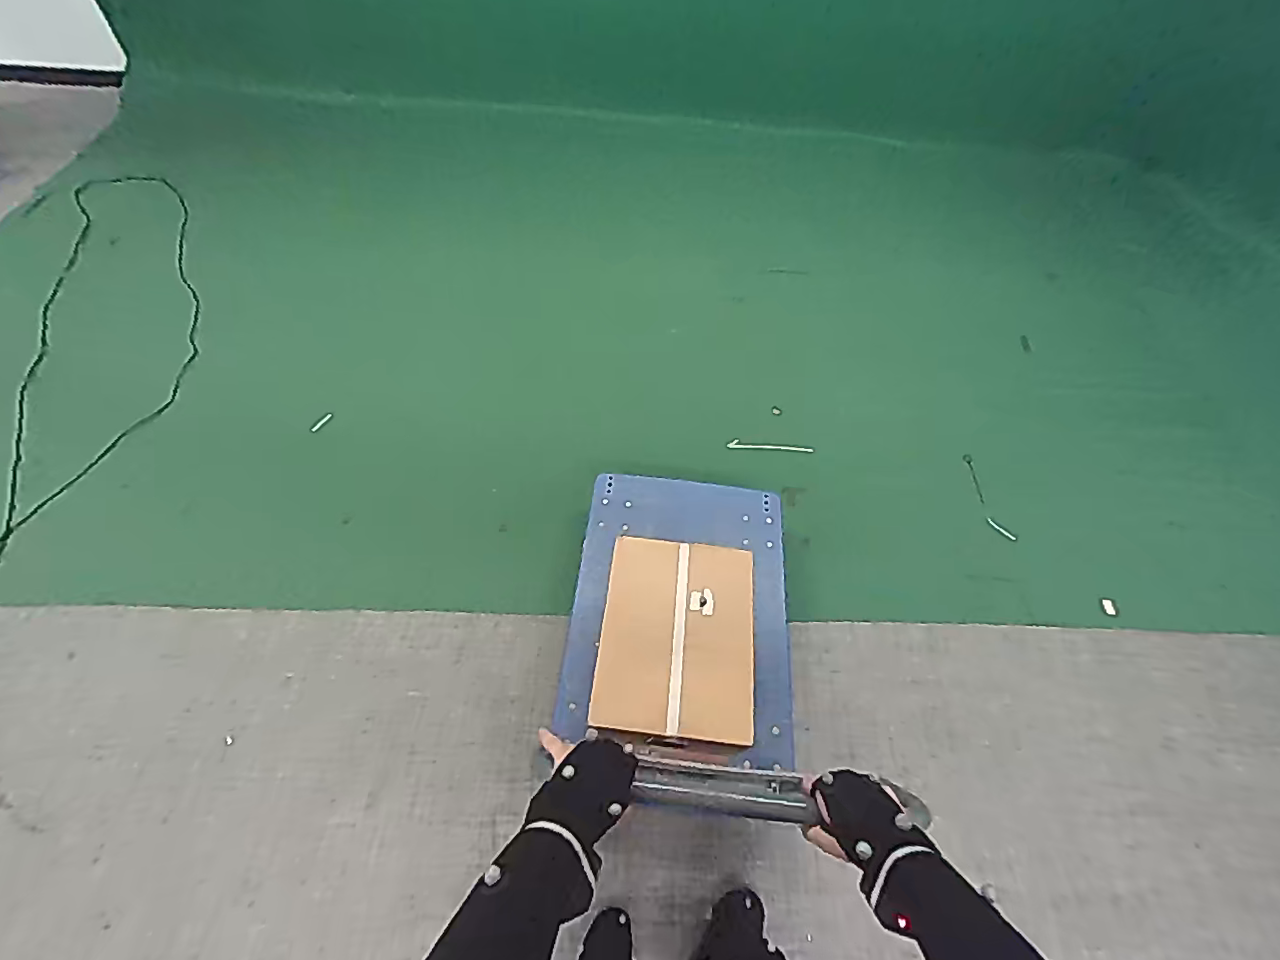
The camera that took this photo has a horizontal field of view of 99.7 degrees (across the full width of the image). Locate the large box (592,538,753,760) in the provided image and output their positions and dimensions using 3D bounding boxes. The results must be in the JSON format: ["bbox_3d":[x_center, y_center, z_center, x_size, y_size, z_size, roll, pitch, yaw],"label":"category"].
[{"bbox_3d":[0.071,0.396,1.251,0.320,0.320,0.408,7,55,0],"label":"large box"}]
